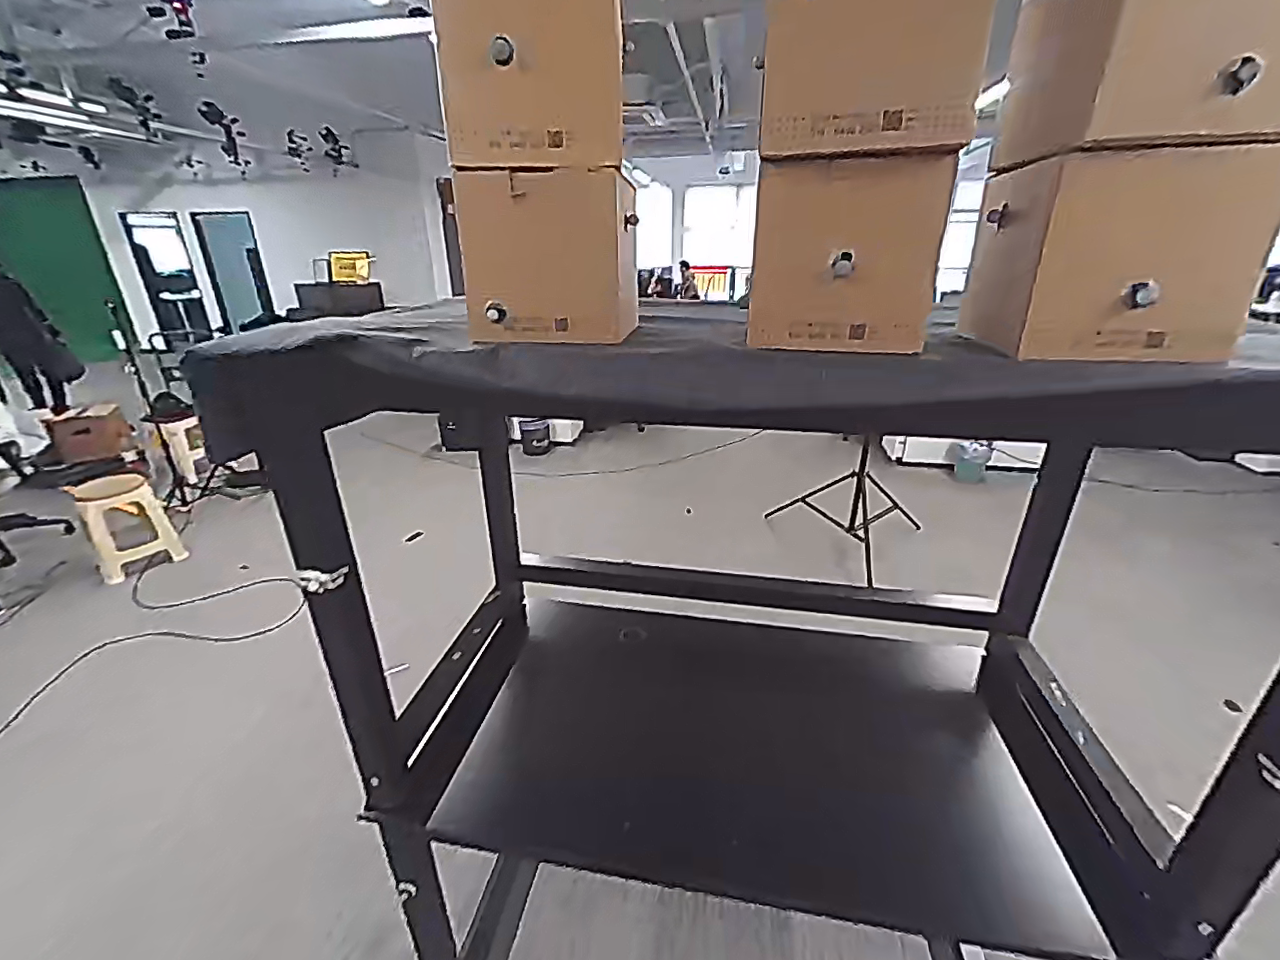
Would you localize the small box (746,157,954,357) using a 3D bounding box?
[{"bbox_3d":[0.204,-0.228,0.570,0.168,0.176,0.179,5,23,12],"label":"small box"}]

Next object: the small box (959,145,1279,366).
[{"bbox_3d":[0.436,-0.211,0.524,0.168,0.176,0.179,3,23,11],"label":"small box"}]

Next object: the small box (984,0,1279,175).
[{"bbox_3d":[0.433,-0.361,0.449,0.179,0.176,0.168,3,22,6],"label":"small box"}]

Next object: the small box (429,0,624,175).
[{"bbox_3d":[-0.102,-0.401,0.567,0.168,0.176,0.179,-1,21,-1],"label":"small box"}]

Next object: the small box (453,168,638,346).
[{"bbox_3d":[-0.093,-0.251,0.628,0.168,0.176,0.179,2,21,6],"label":"small box"}]
